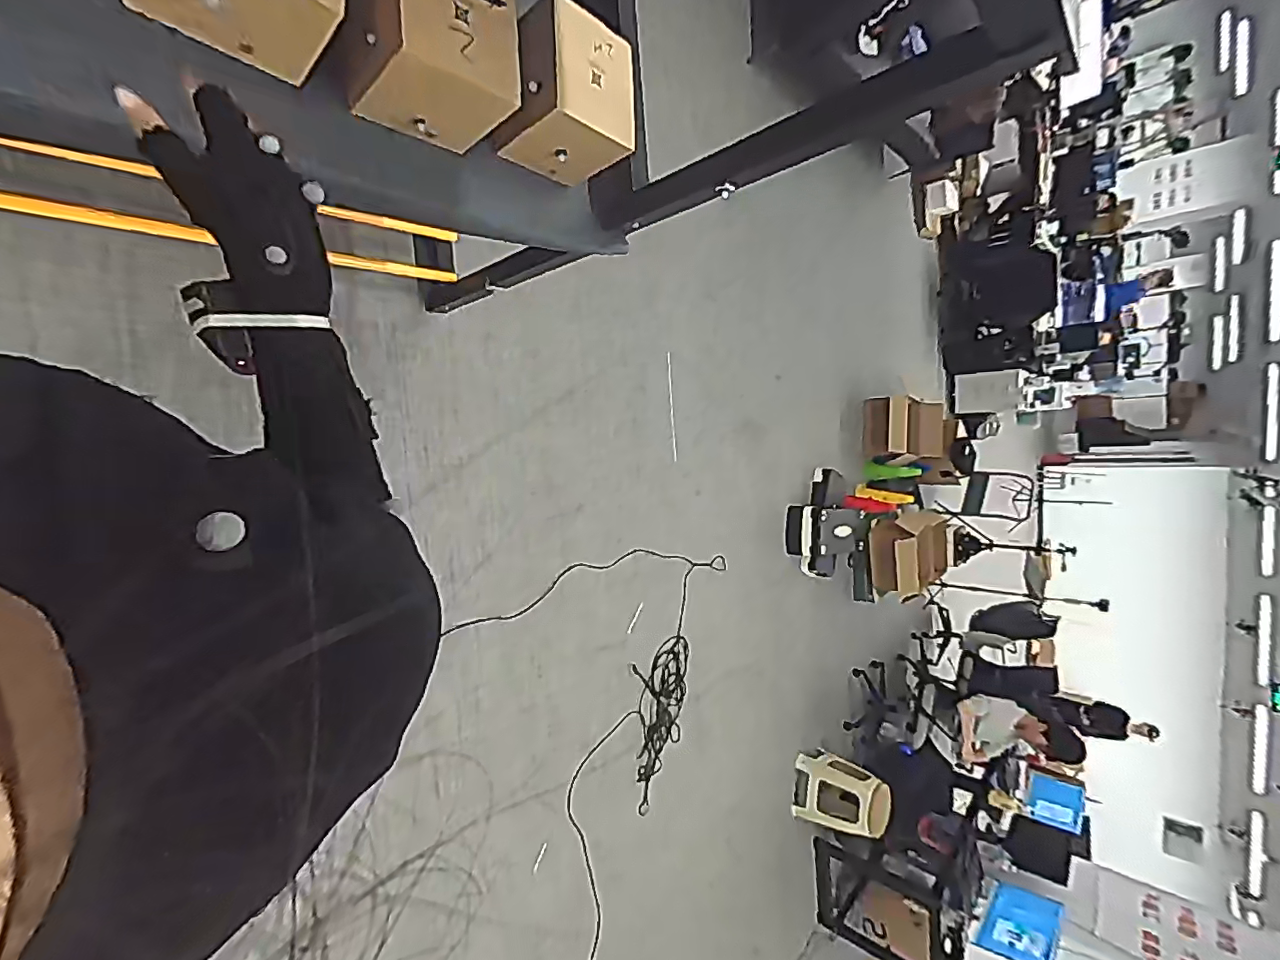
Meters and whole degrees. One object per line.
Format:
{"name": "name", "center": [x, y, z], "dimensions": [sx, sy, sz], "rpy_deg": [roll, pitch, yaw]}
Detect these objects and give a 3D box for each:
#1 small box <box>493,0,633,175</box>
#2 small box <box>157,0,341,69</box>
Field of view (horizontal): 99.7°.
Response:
{"name": "small box", "center": [-0.128, -0.640, 0.893], "dimensions": [0.168, 0.176, 0.179], "rpy_deg": [-5, 94, -47]}
{"name": "small box", "center": [-0.429, -0.596, 0.574], "dimensions": [0.168, 0.176, 0.179], "rpy_deg": [0, 91, -47]}
